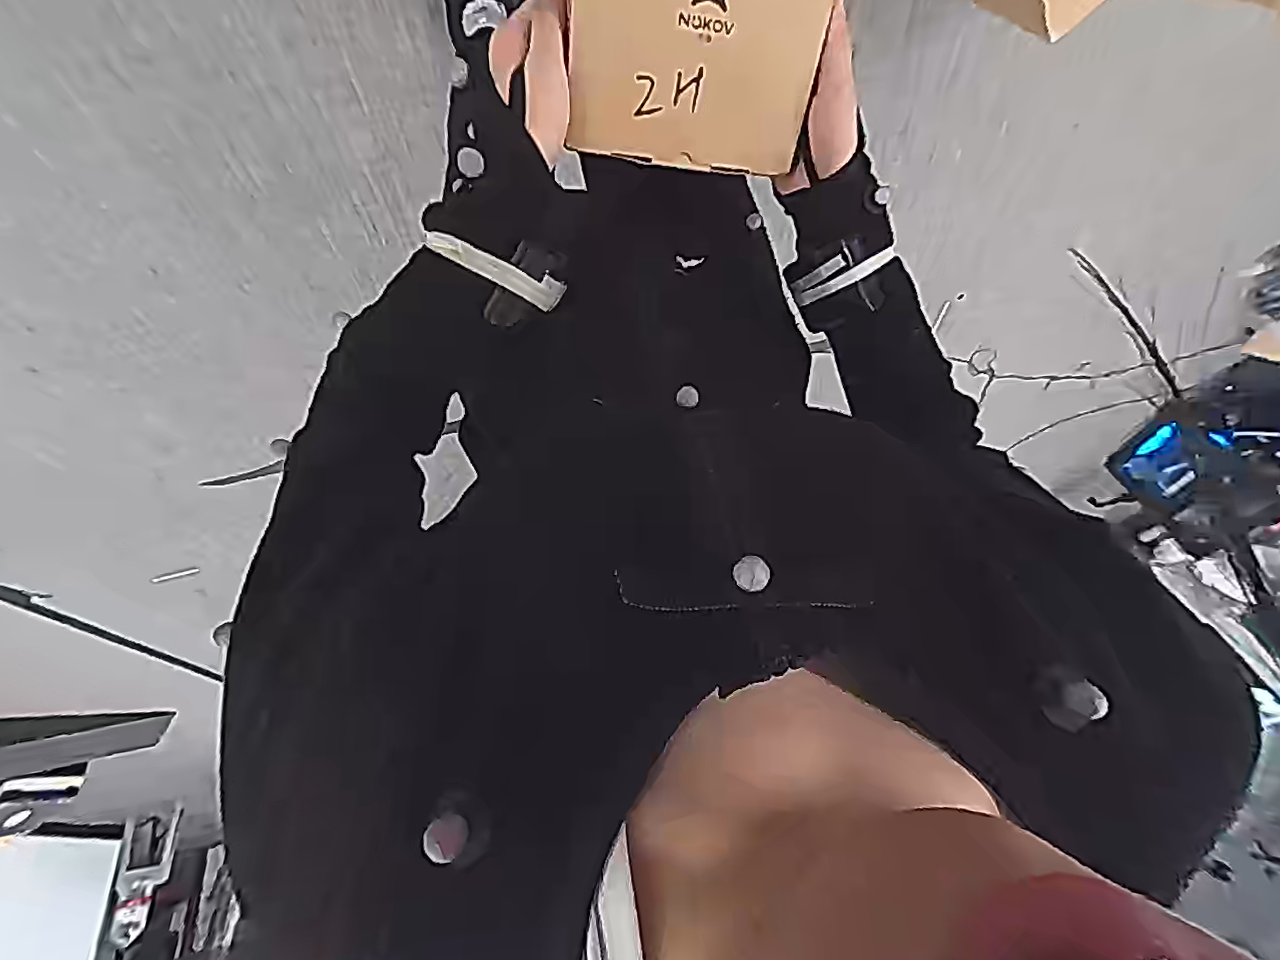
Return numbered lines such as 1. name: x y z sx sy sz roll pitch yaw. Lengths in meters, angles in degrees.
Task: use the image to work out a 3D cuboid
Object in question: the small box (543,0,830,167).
1. small box: 0.021 -0.341 0.384 0.168 0.176 0.179 -2 126 -15
